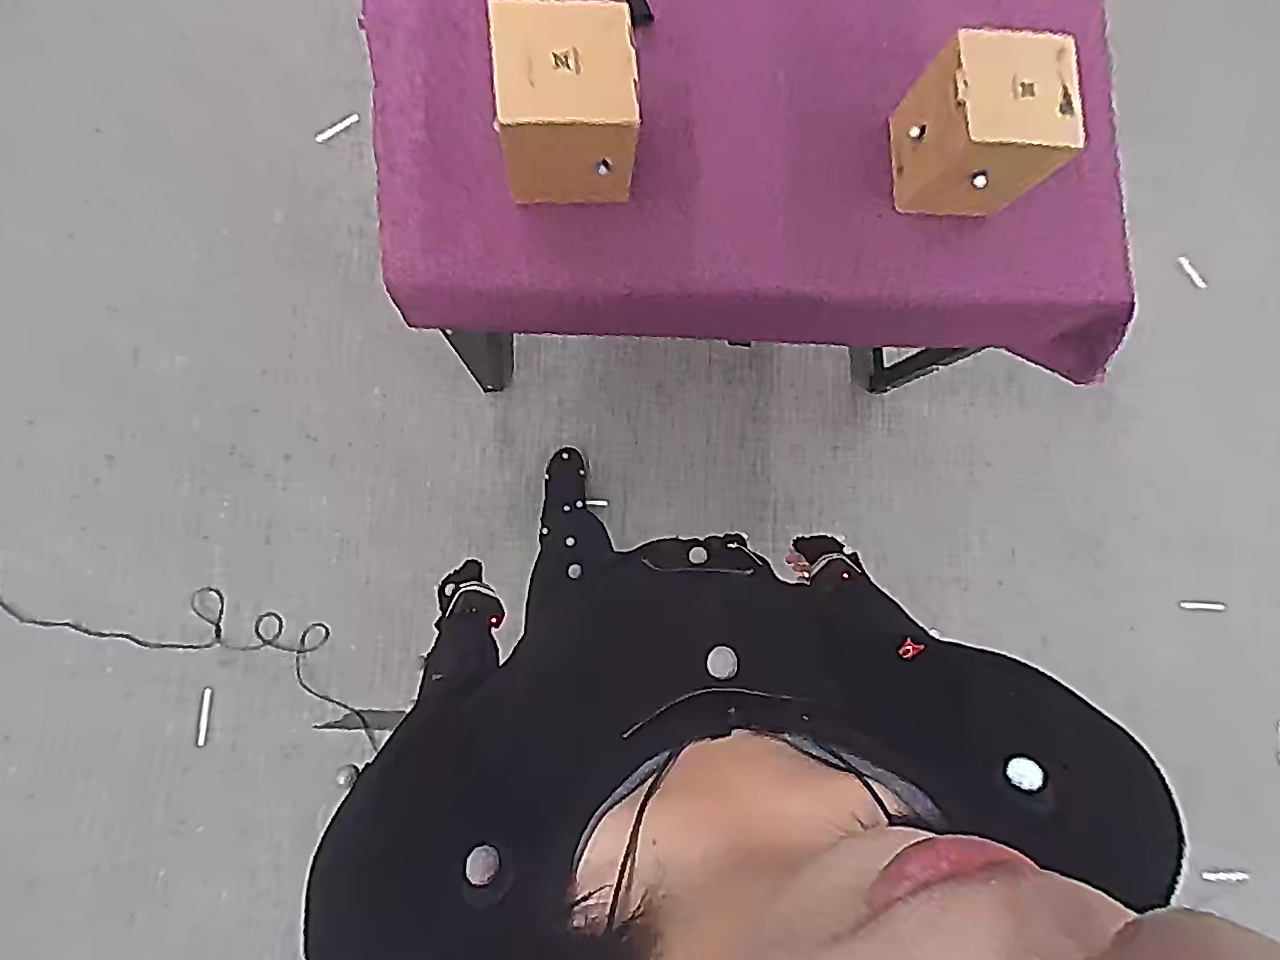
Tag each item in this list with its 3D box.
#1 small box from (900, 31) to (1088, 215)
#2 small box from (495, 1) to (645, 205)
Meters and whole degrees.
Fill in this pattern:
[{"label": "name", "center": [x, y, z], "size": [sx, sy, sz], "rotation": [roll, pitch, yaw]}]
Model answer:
[{"label": "small box", "center": [0.512, -0.521, 0.811], "size": [0.179, 0.176, 0.168], "rotation": [-1, 85, -5]}, {"label": "small box", "center": [-0.095, -0.504, 0.745], "size": [0.179, 0.176, 0.168], "rotation": [-5, 84, -6]}]
